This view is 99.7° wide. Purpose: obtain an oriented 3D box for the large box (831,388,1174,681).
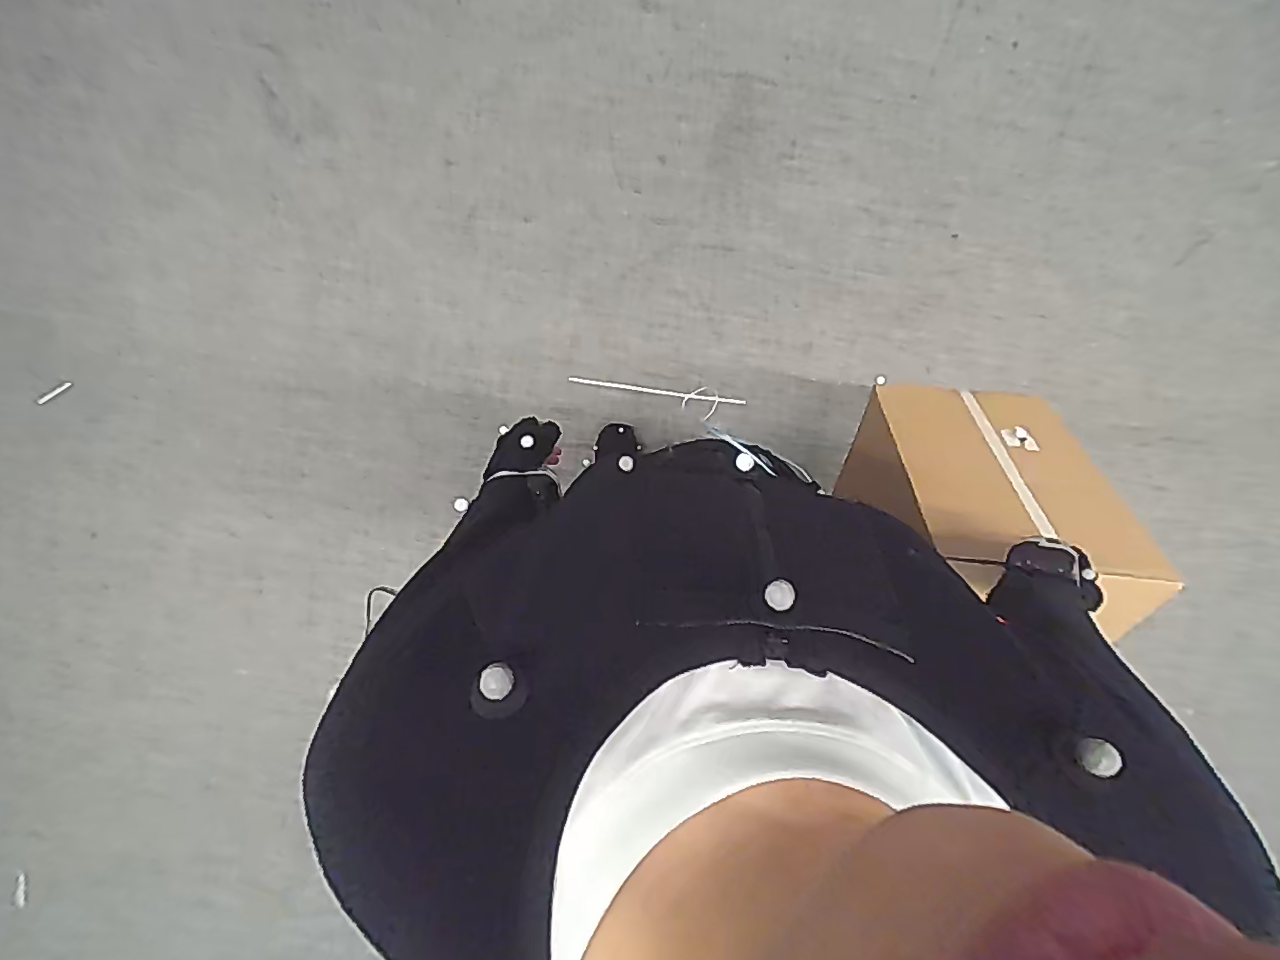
[{"bbox_3d":[0.556,0.088,0.948,0.320,0.408,0.320,6,133,3],"label":"large box"}]
